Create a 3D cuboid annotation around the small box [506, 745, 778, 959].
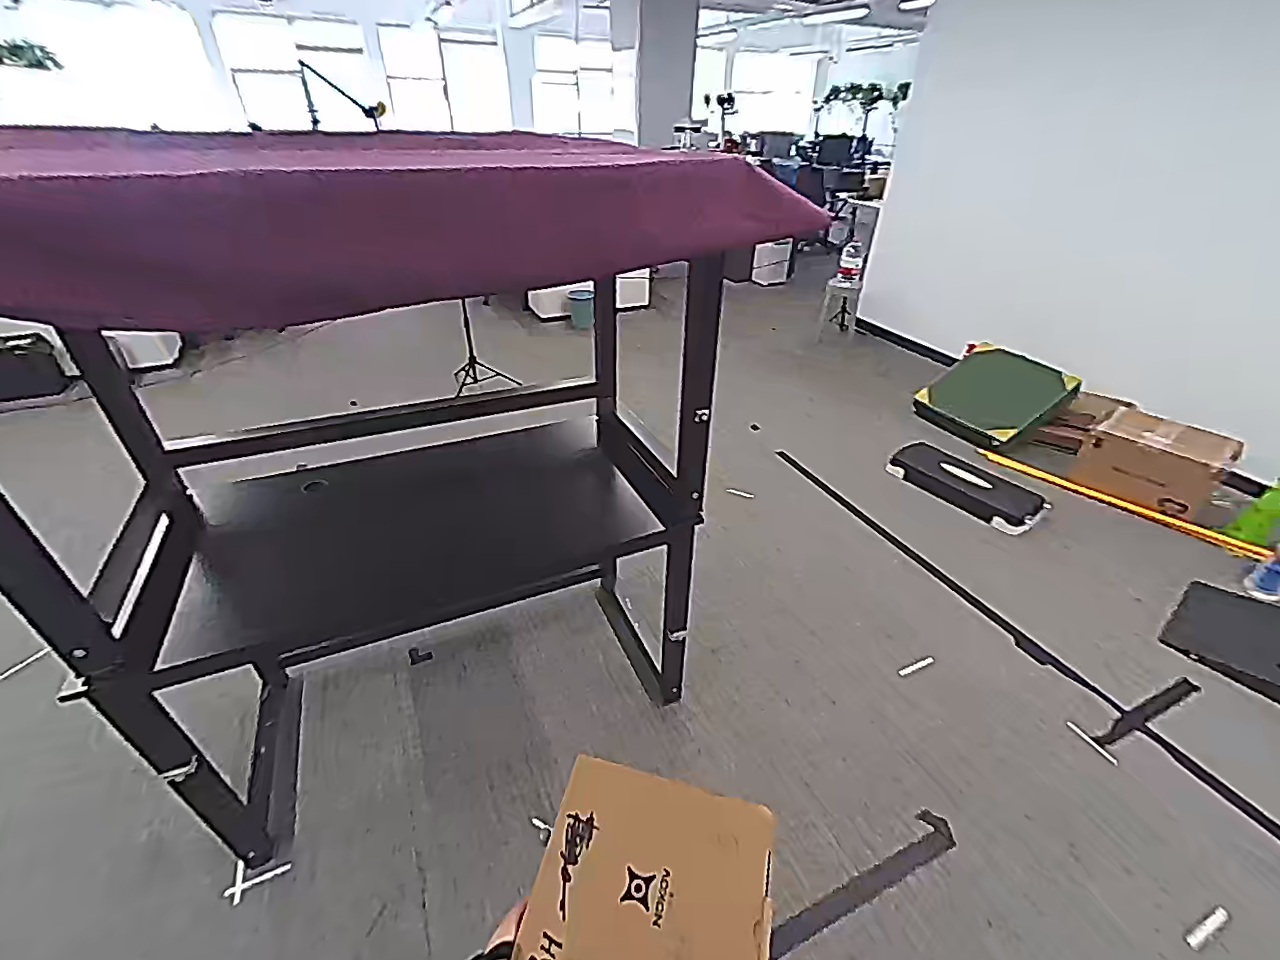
[{"bbox_3d":[0.008,0.361,0.461,0.179,0.176,0.168,11,44,11],"label":"small box"}]
